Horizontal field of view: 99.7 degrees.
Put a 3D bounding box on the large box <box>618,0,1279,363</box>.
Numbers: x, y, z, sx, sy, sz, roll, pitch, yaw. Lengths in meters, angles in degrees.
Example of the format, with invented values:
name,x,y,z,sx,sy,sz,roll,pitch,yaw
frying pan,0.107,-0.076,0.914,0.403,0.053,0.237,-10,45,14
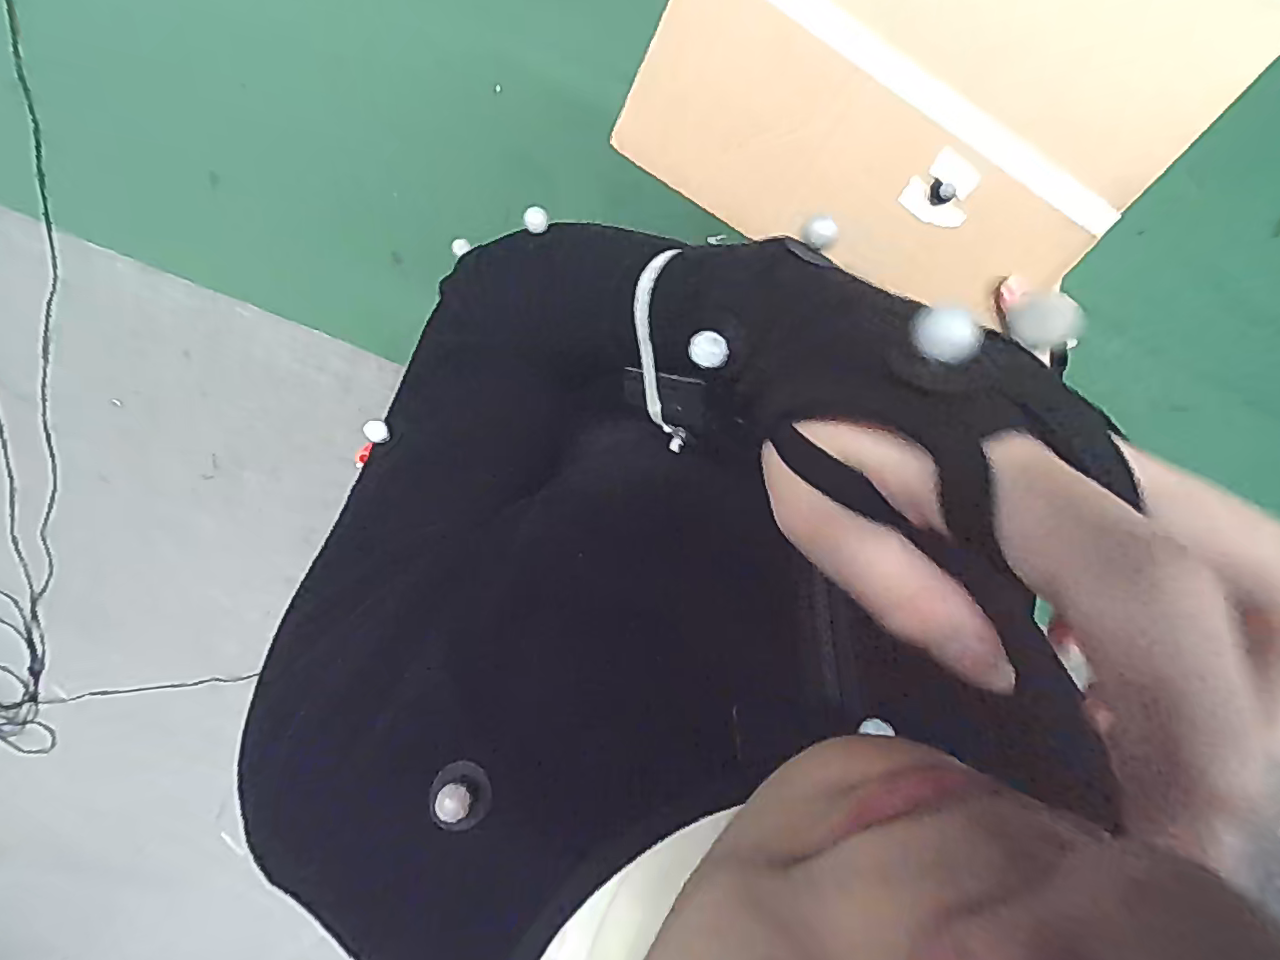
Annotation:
name,x,y,z,sx,sy,sz,roll,pitch,yaw
large box,0.239,-0.391,0.560,0.408,0.320,0.320,28,123,-9
